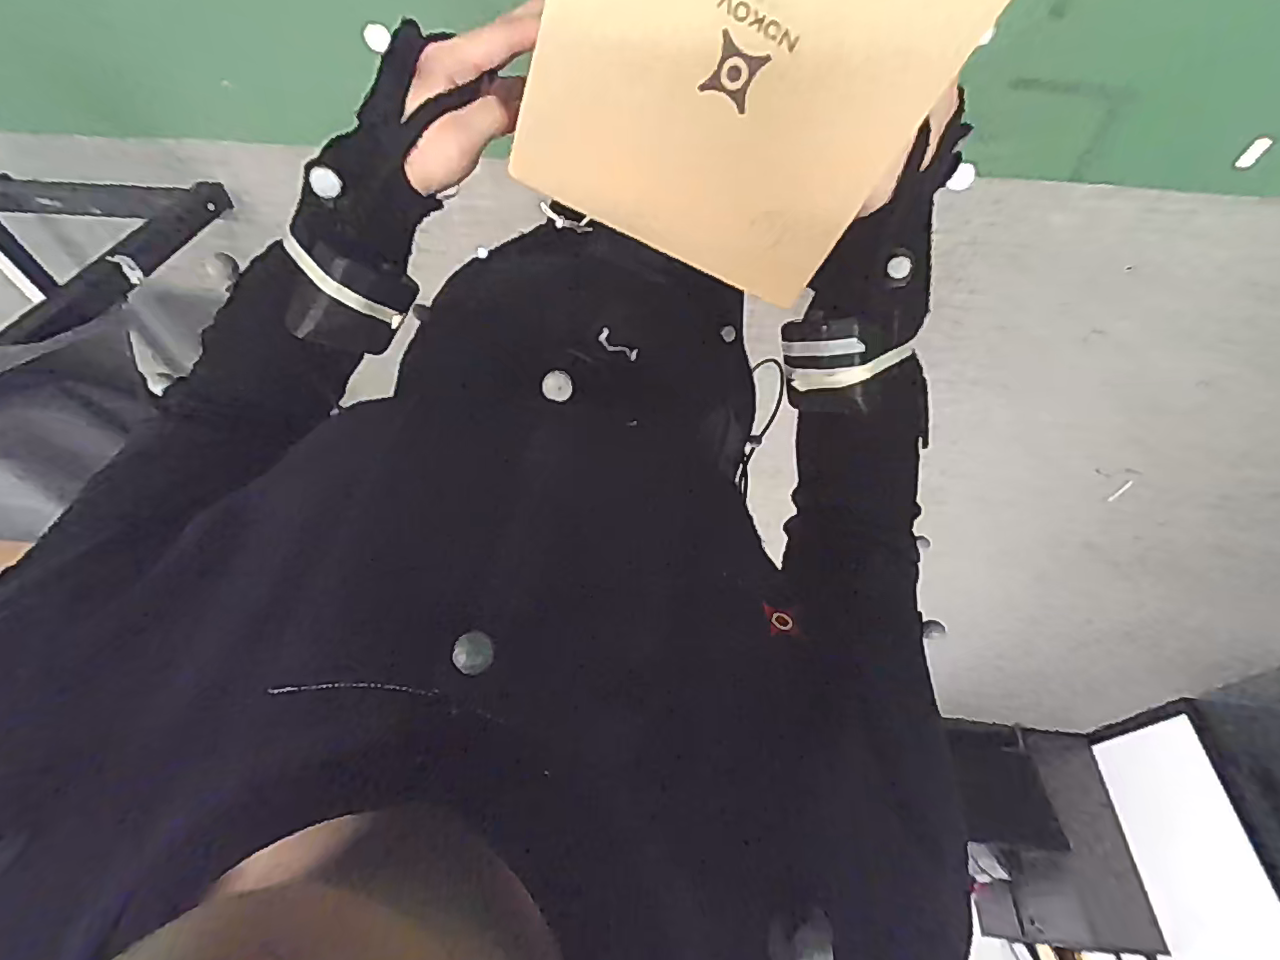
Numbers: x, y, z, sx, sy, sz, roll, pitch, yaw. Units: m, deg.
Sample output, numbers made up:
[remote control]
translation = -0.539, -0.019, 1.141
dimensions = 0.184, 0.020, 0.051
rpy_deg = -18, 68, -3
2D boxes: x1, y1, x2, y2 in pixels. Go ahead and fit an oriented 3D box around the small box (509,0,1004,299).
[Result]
[small box]
translation = 0.051, -0.235, 0.275
dimensions = 0.168, 0.176, 0.179
rpy_deg = 20, 135, -12
